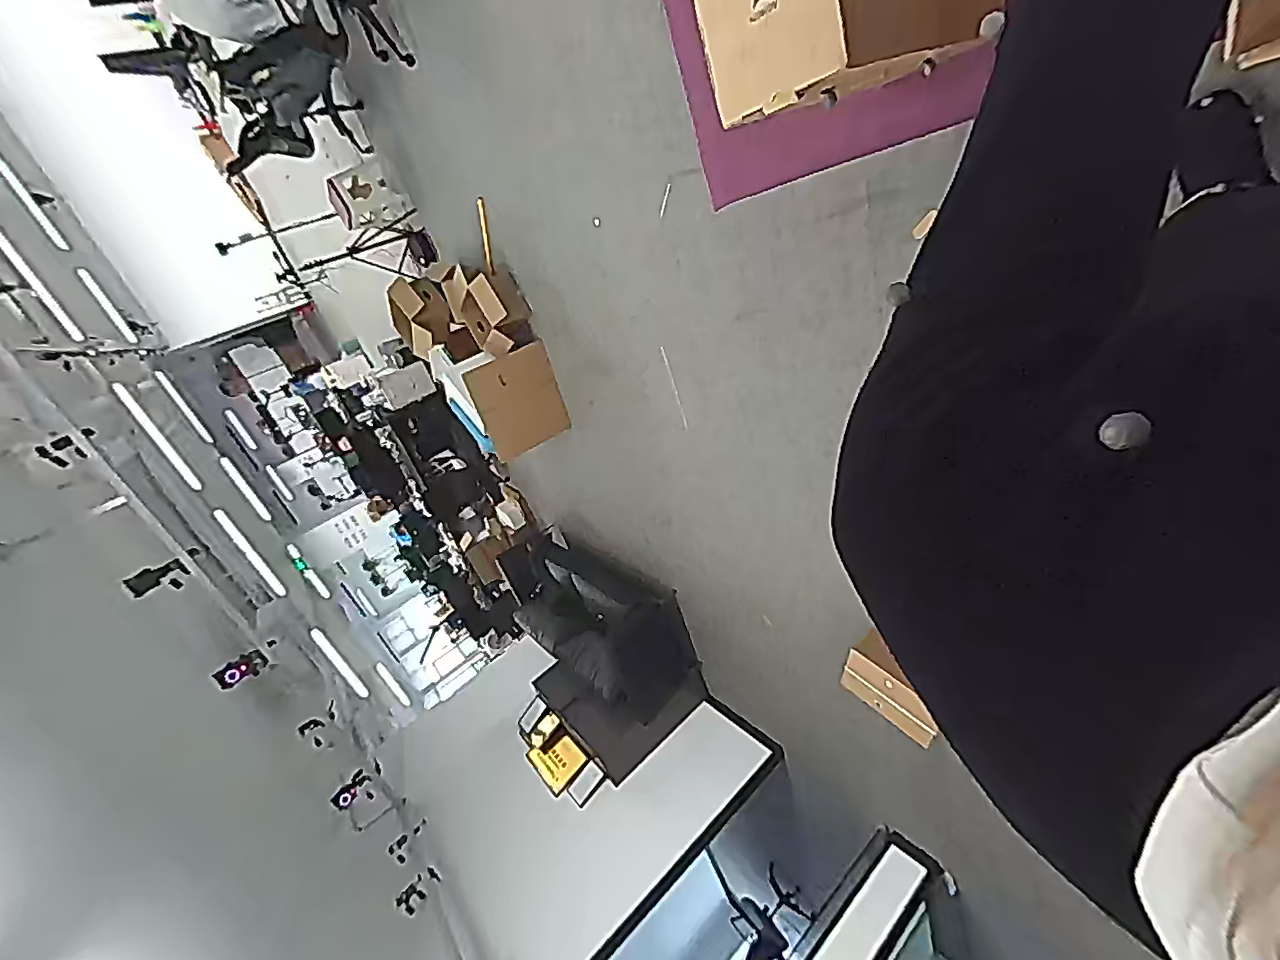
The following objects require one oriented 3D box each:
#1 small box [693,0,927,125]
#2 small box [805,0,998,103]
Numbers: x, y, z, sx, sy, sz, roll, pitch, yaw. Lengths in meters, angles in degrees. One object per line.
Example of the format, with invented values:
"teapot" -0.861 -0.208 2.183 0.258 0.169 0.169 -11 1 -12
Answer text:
"small box" 0.176 -0.508 0.562 0.168 0.176 0.179 16 133 51
"small box" 0.300 -0.585 0.638 0.168 0.176 0.179 17 132 51
